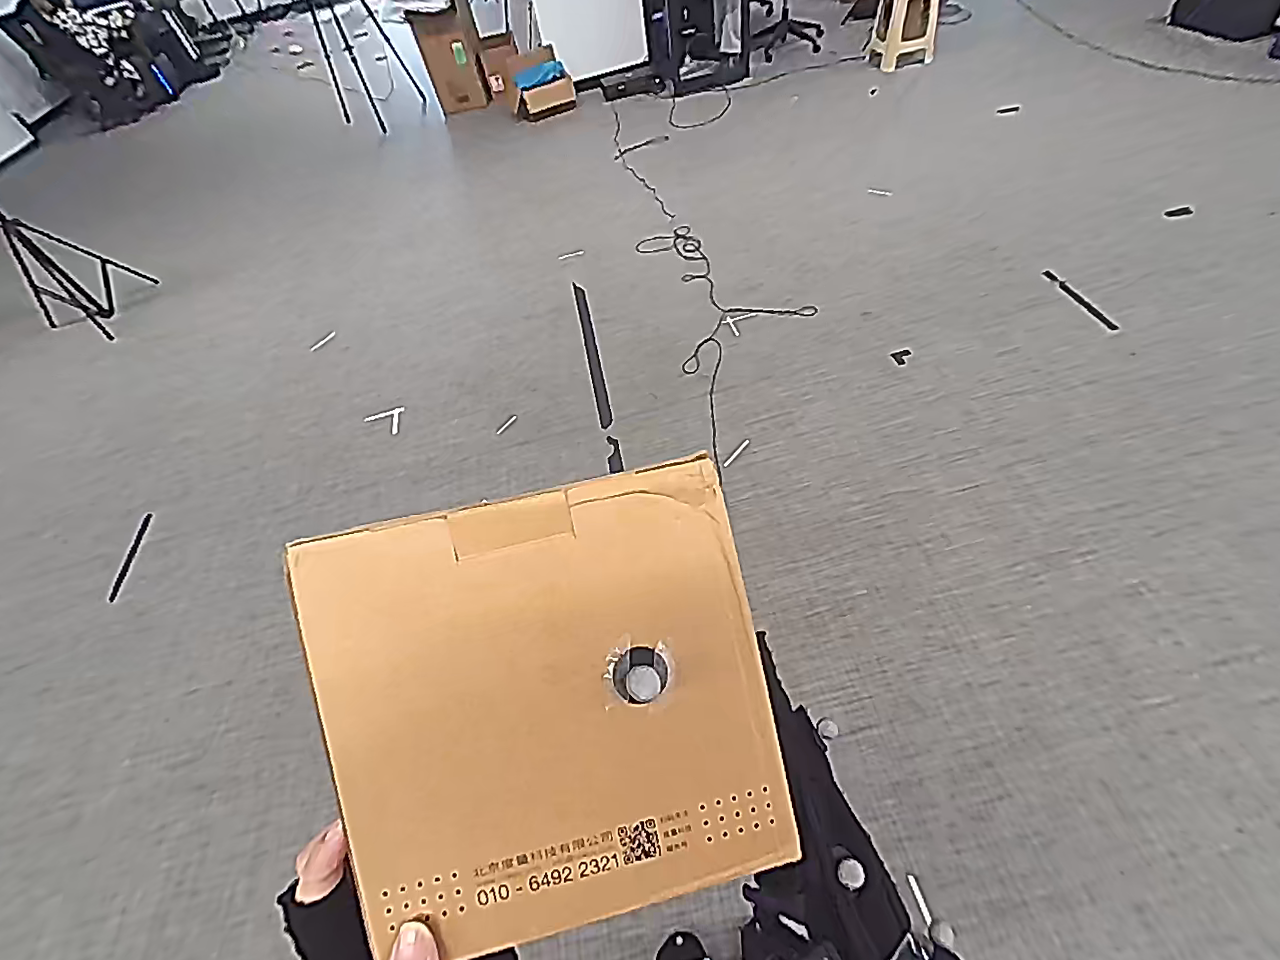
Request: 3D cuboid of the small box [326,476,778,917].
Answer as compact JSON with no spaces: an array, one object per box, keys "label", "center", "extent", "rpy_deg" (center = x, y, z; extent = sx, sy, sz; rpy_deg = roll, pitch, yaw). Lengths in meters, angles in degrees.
[{"label":"small box","center":[-0.037,0.099,0.306],"extent":[0.168,0.179,0.176],"rpy_deg":[-12,91,-5]}]
